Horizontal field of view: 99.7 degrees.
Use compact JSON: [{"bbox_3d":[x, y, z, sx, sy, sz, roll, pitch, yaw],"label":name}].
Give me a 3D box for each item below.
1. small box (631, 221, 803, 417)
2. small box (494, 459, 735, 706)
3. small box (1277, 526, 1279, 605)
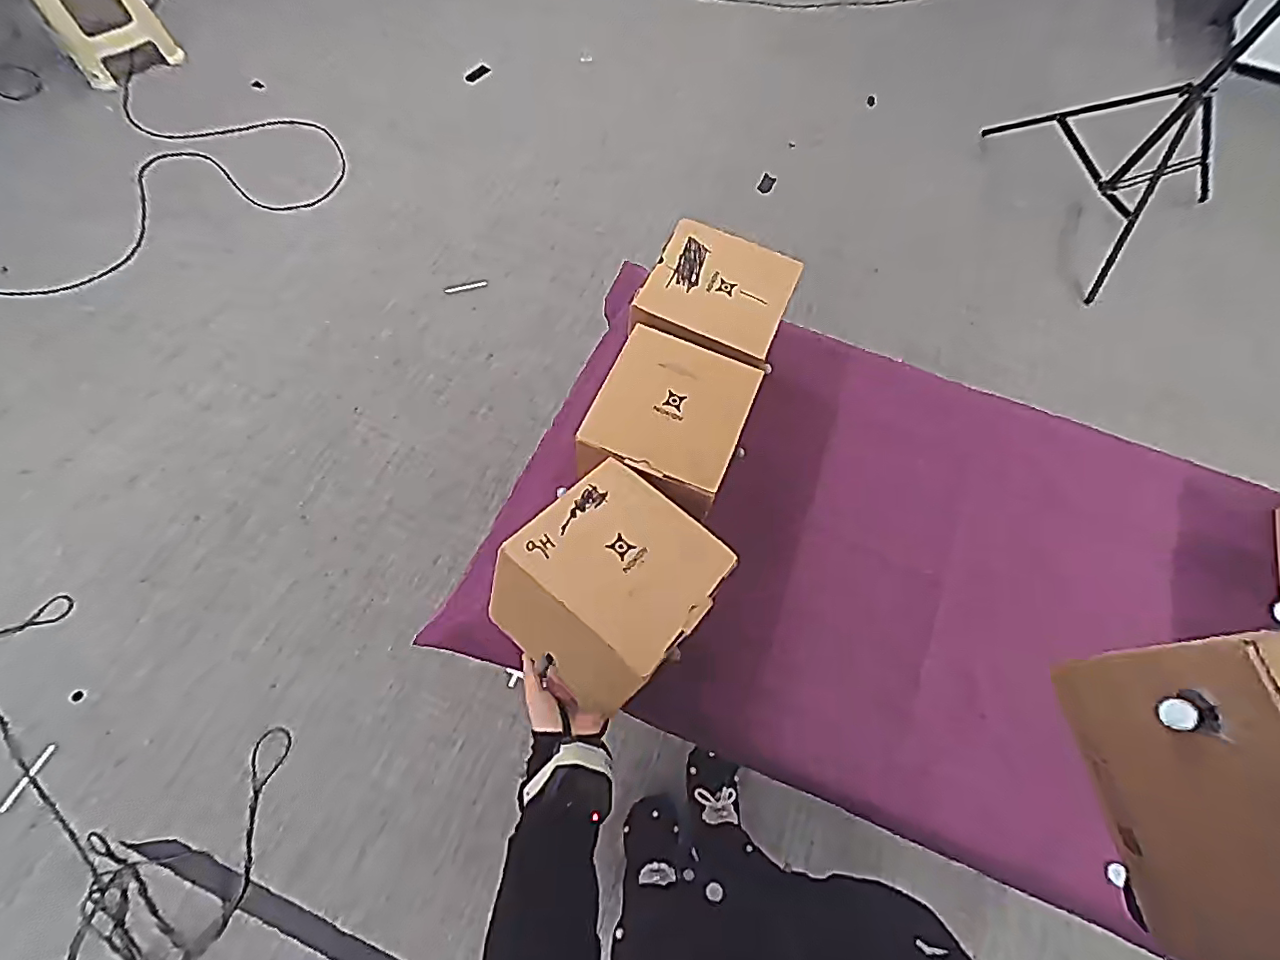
[{"bbox_3d":[0.096,-0.214,0.752,0.179,0.176,0.168,24,69,6],"label":"small box"},{"bbox_3d":[-0.036,0.117,0.581,0.179,0.176,0.168,41,54,12],"label":"small box"},{"bbox_3d":[0.954,0.110,0.663,0.179,0.176,0.168,23,68,6],"label":"small box"}]
